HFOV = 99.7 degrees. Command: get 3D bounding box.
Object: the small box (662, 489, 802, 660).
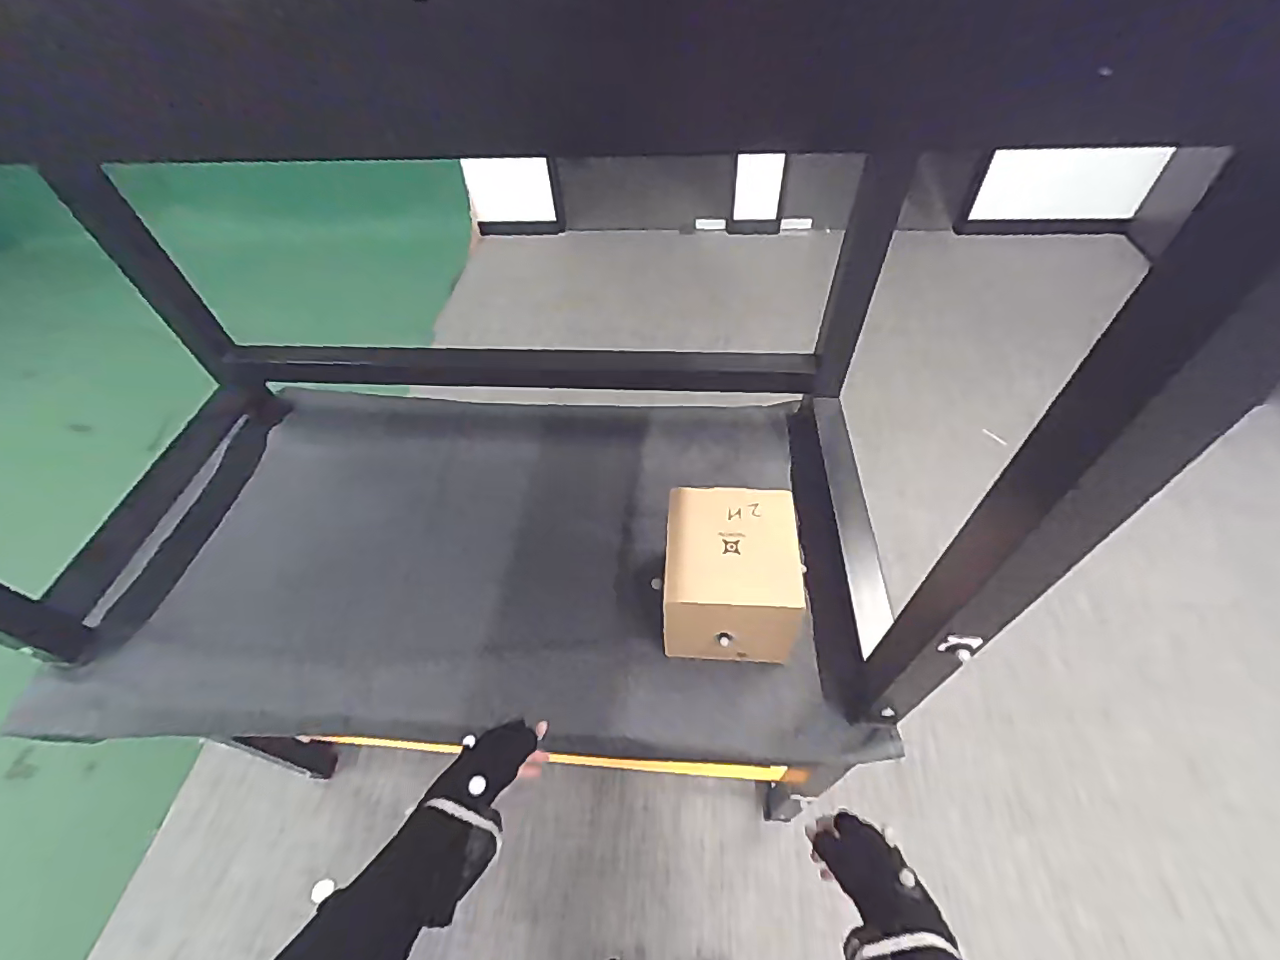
[{"bbox_3d":[0.120,0.133,0.745,0.168,0.176,0.179,2,50,5],"label":"small box"}]
